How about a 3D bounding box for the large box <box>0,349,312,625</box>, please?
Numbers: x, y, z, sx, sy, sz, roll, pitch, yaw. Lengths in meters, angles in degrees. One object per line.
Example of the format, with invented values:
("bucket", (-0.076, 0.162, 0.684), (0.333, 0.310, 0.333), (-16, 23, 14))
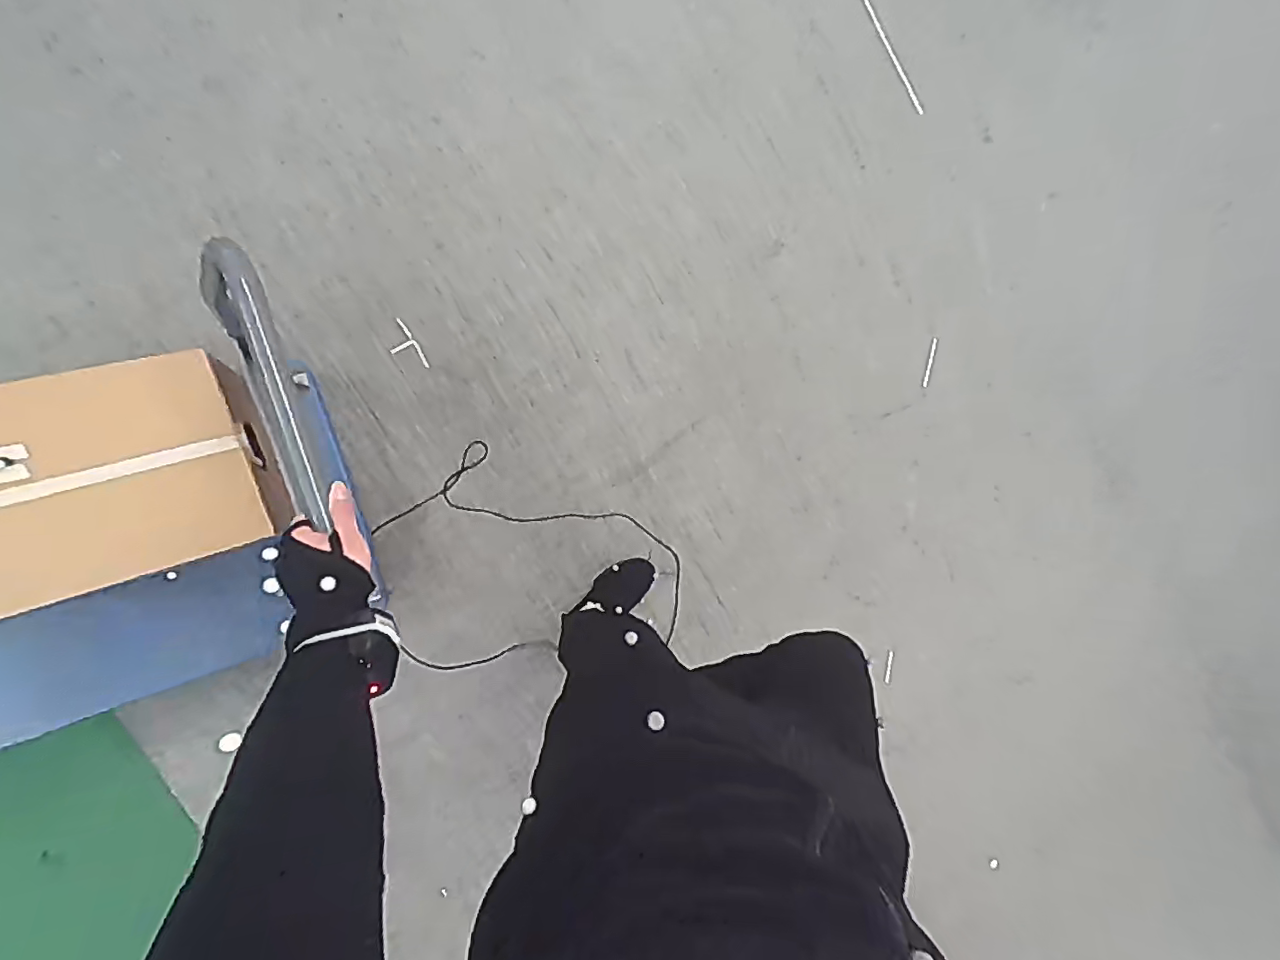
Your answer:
("large box", (-0.850, 0.006, 0.915), (0.408, 0.320, 0.320), (-20, 95, -22))
